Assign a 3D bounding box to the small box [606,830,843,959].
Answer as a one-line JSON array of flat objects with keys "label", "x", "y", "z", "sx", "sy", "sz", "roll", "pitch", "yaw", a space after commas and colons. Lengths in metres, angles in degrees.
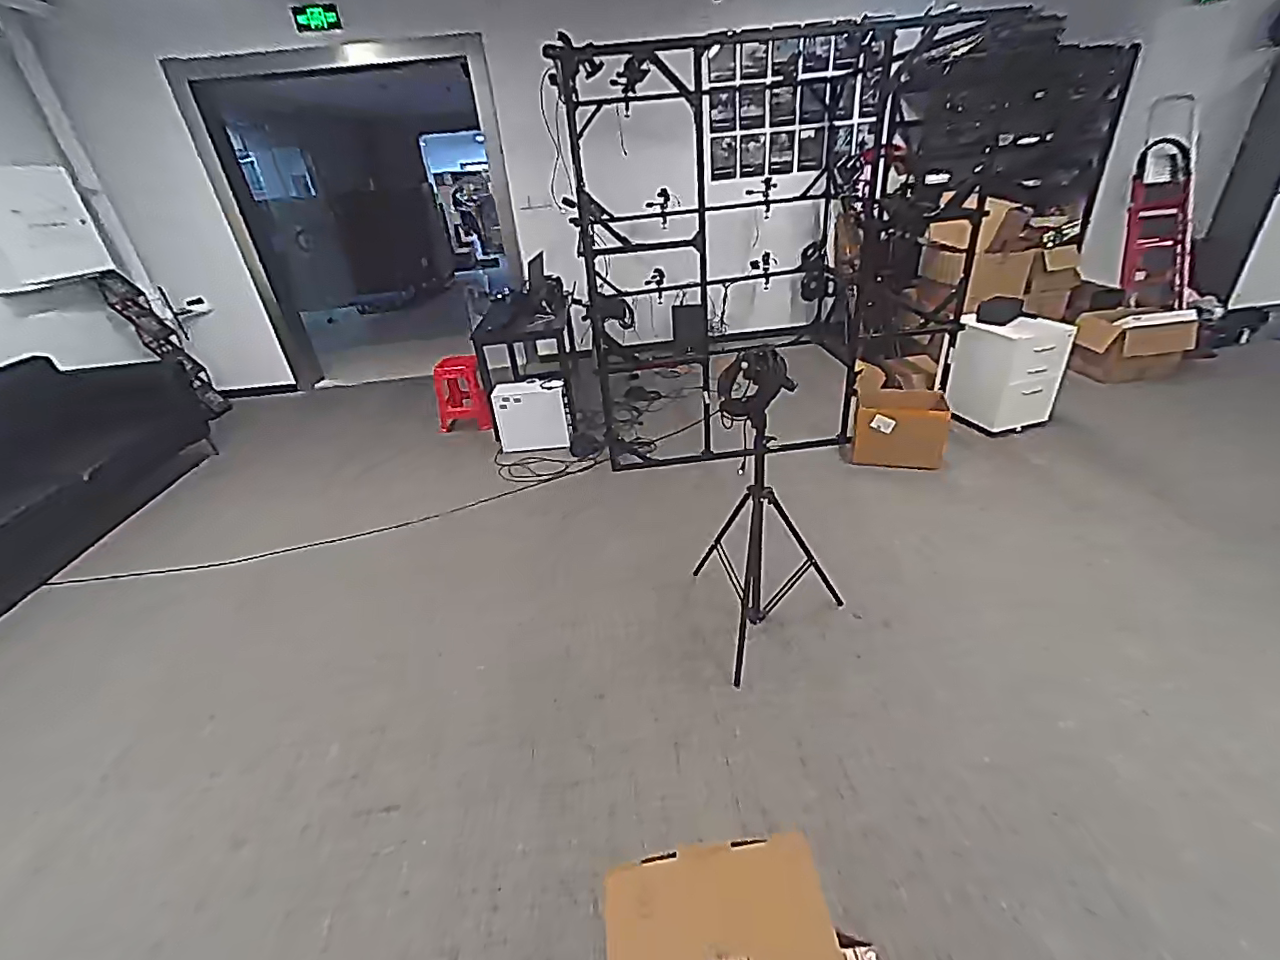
[{"label": "small box", "x": 0.069, "y": 0.405, "z": 0.417, "sx": 0.168, "sy": 0.176, "sz": 0.179, "roll": -9, "pitch": 41, "yaw": 1}]
